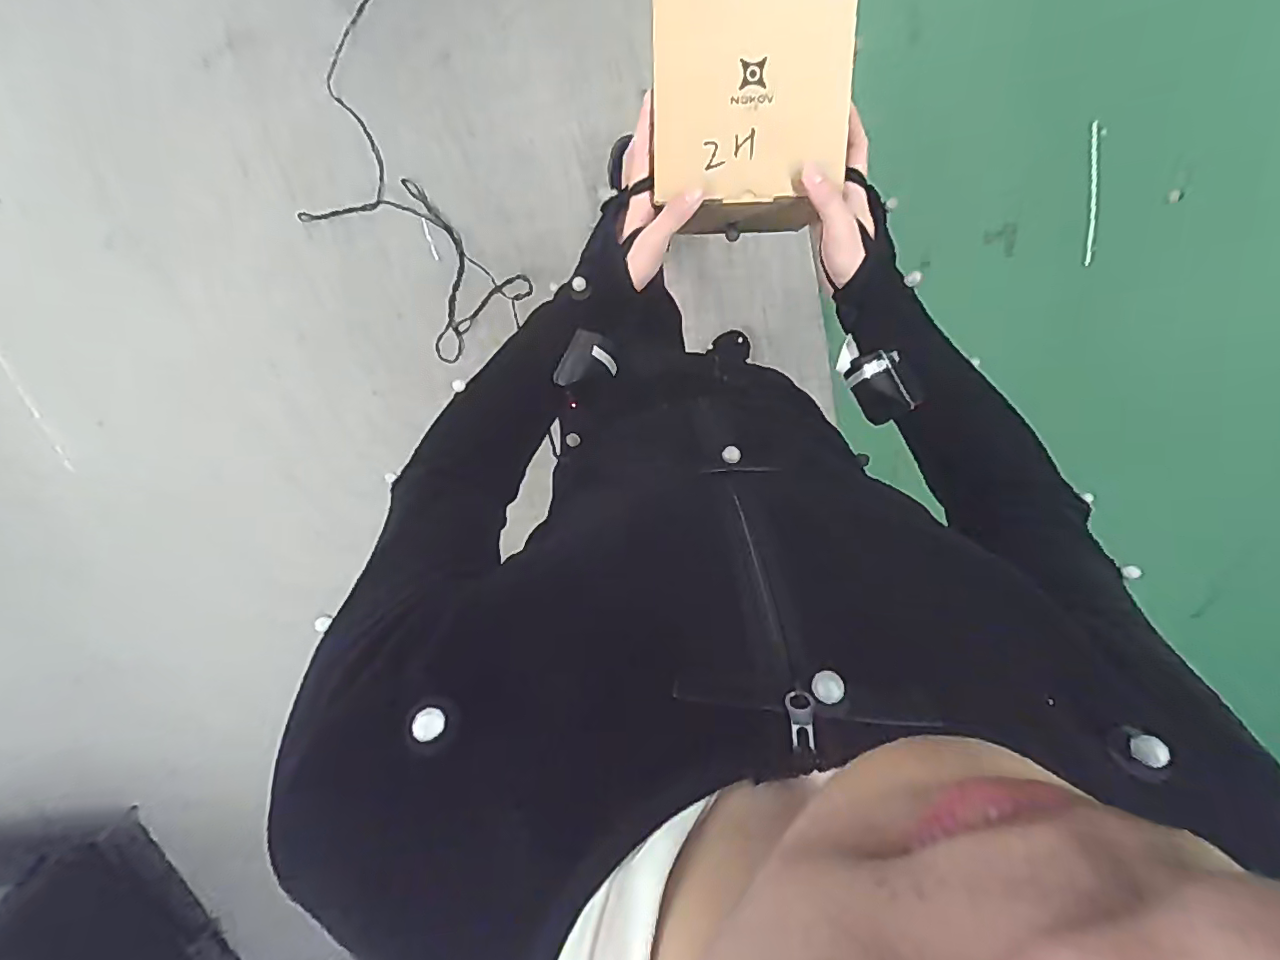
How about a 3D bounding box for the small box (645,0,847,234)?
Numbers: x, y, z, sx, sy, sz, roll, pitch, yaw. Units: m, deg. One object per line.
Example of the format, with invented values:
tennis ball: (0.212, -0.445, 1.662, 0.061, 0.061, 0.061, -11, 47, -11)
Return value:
small box: (0.090, -0.351, 0.526, 0.168, 0.176, 0.179, 0, 105, 5)
